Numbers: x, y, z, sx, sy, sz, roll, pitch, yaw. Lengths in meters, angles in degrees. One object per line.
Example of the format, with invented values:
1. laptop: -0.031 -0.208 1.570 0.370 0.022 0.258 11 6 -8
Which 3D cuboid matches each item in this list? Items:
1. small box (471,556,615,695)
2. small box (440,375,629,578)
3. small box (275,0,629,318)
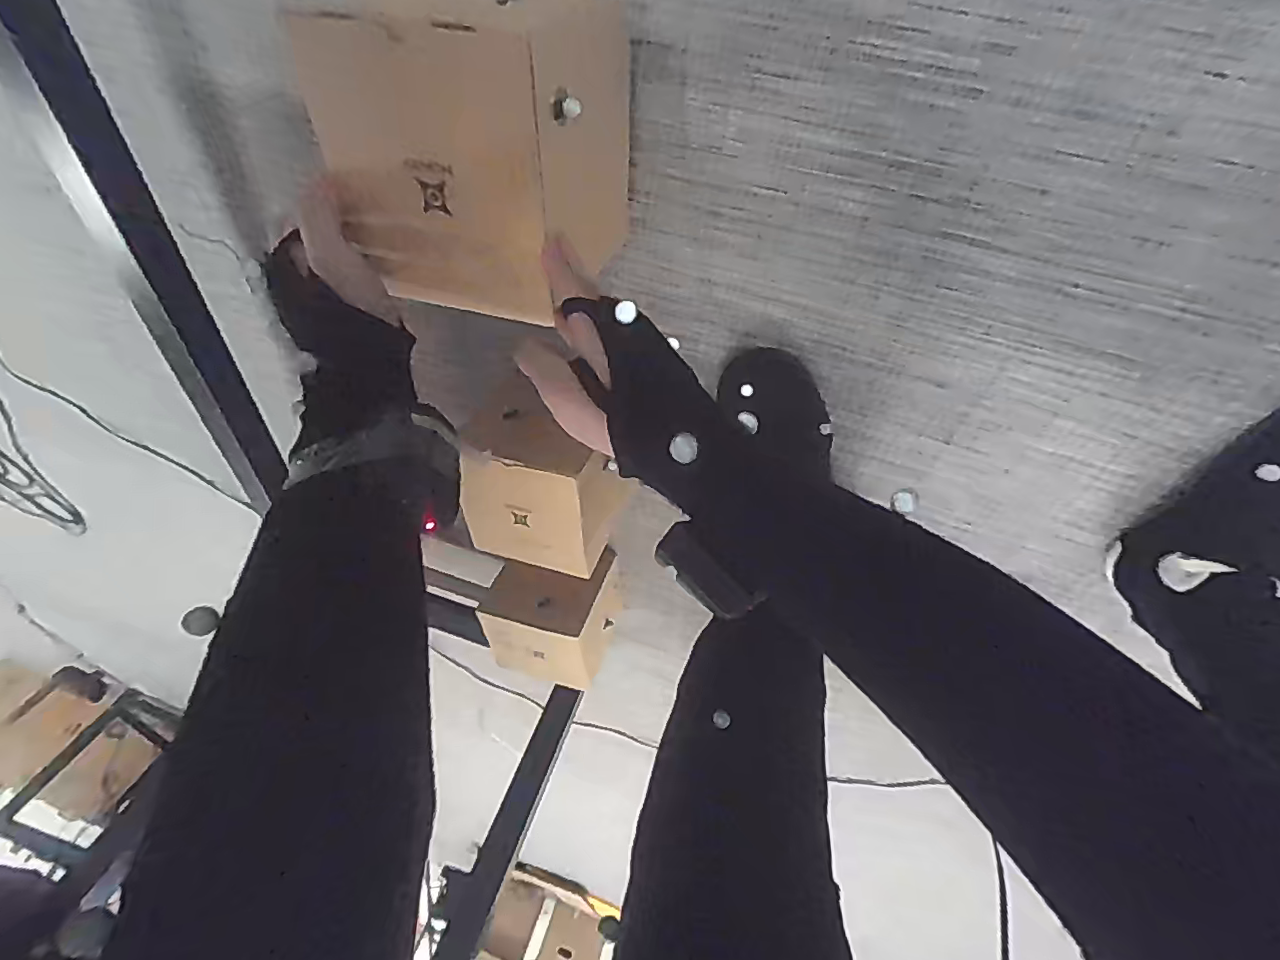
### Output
1. small box: -0.145 0.221 0.896 0.179 0.176 0.168 11 133 14
2. small box: -0.117 -0.011 0.680 0.168 0.176 0.179 13 134 14
3. small box: -0.111 -0.254 0.408 0.168 0.176 0.179 15 136 11
